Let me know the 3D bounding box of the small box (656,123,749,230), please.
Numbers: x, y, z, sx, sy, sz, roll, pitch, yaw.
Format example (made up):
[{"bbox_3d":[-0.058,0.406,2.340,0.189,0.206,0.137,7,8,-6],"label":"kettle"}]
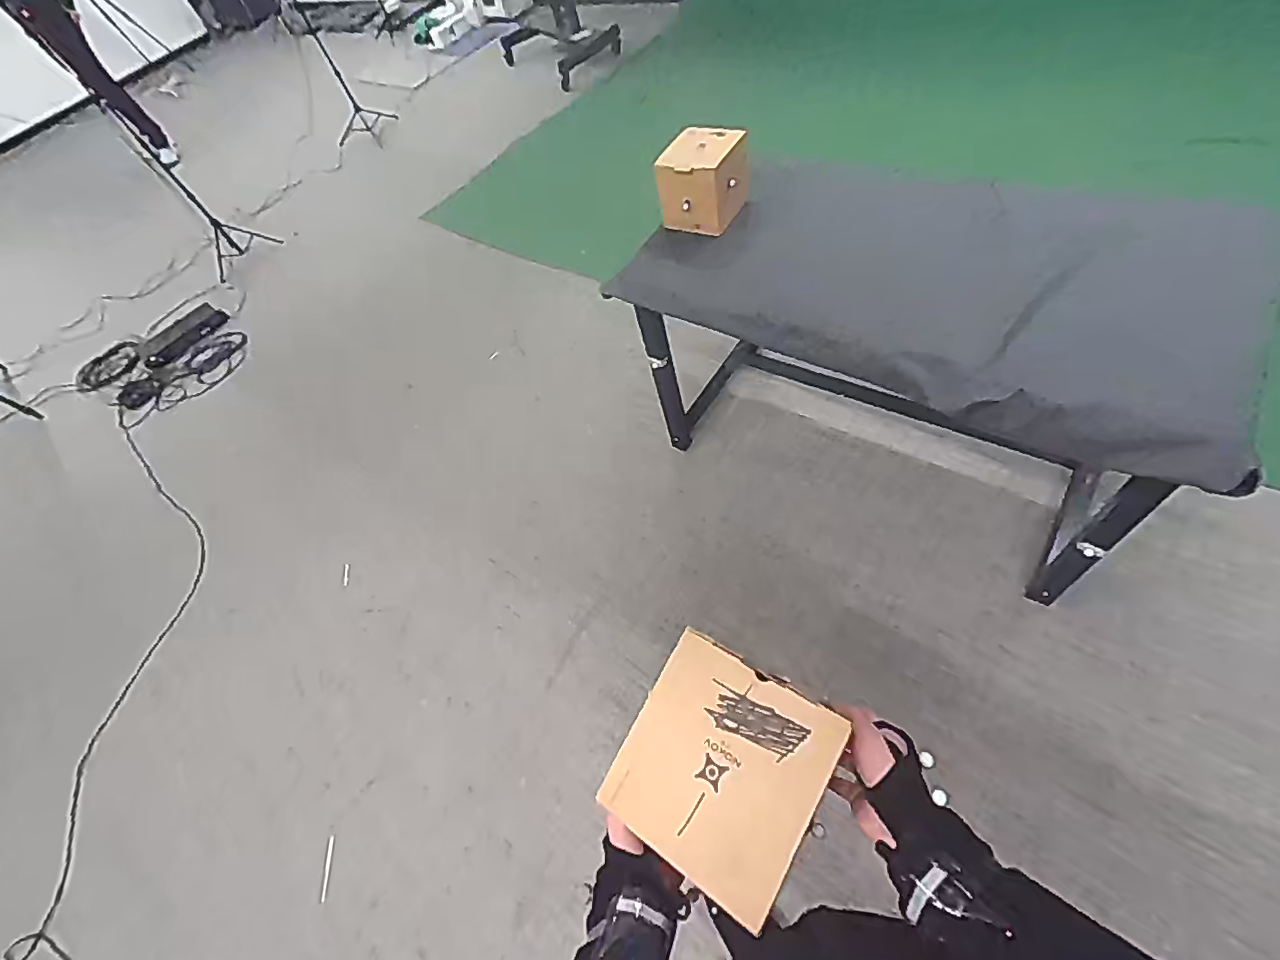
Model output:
[{"bbox_3d":[0.165,-0.755,1.351,0.168,0.176,0.179,22,66,26],"label":"small box"}]
